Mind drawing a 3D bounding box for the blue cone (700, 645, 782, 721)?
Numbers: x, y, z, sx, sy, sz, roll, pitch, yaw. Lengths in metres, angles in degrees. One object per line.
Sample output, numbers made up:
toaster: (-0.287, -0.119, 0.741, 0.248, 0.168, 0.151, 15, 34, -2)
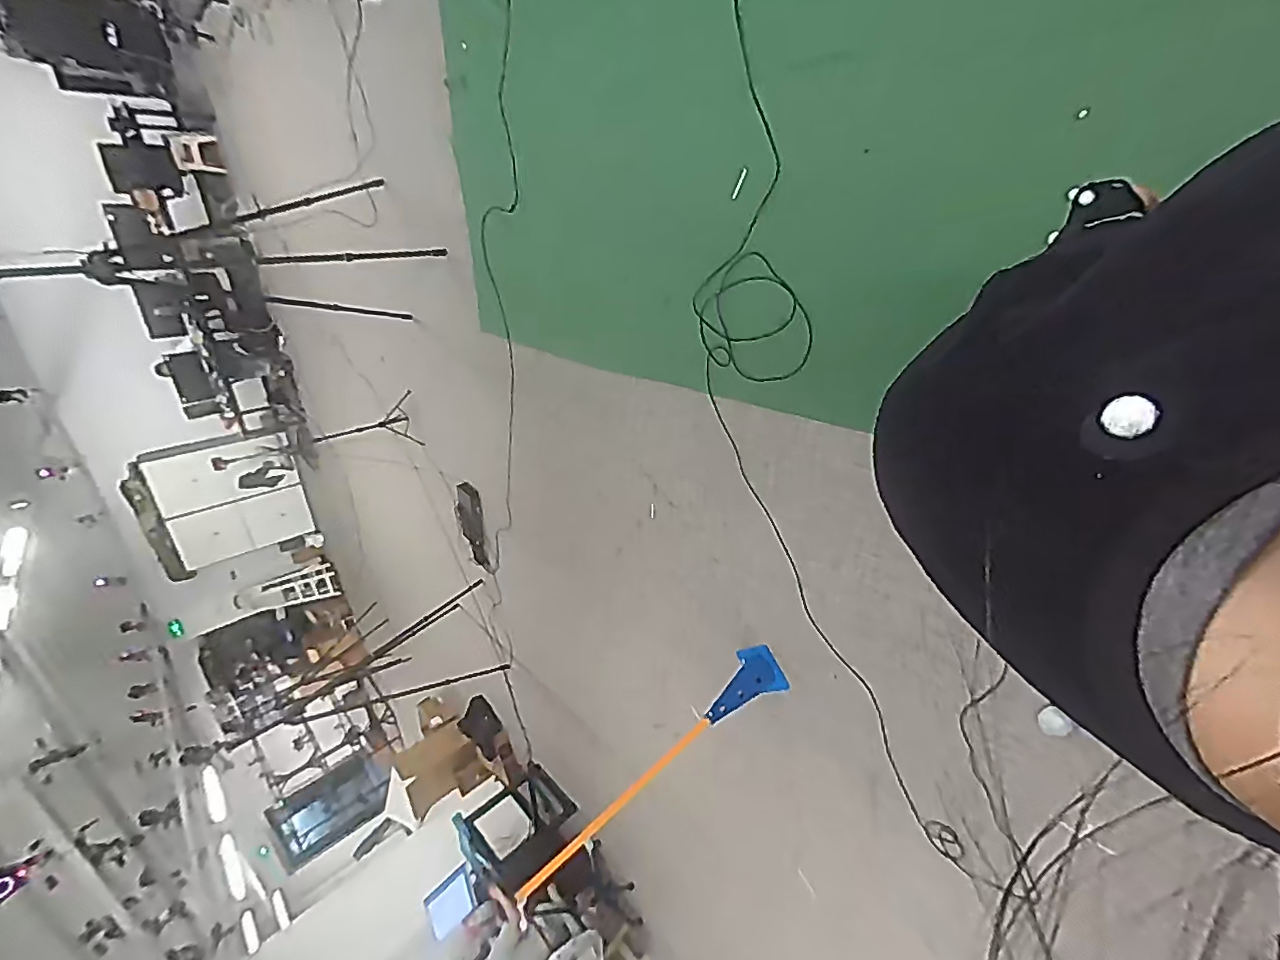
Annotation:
blue cone: (0.381, 0.849, 2.171, 0.192, 0.380, 0.193, 58, 143, 8)
